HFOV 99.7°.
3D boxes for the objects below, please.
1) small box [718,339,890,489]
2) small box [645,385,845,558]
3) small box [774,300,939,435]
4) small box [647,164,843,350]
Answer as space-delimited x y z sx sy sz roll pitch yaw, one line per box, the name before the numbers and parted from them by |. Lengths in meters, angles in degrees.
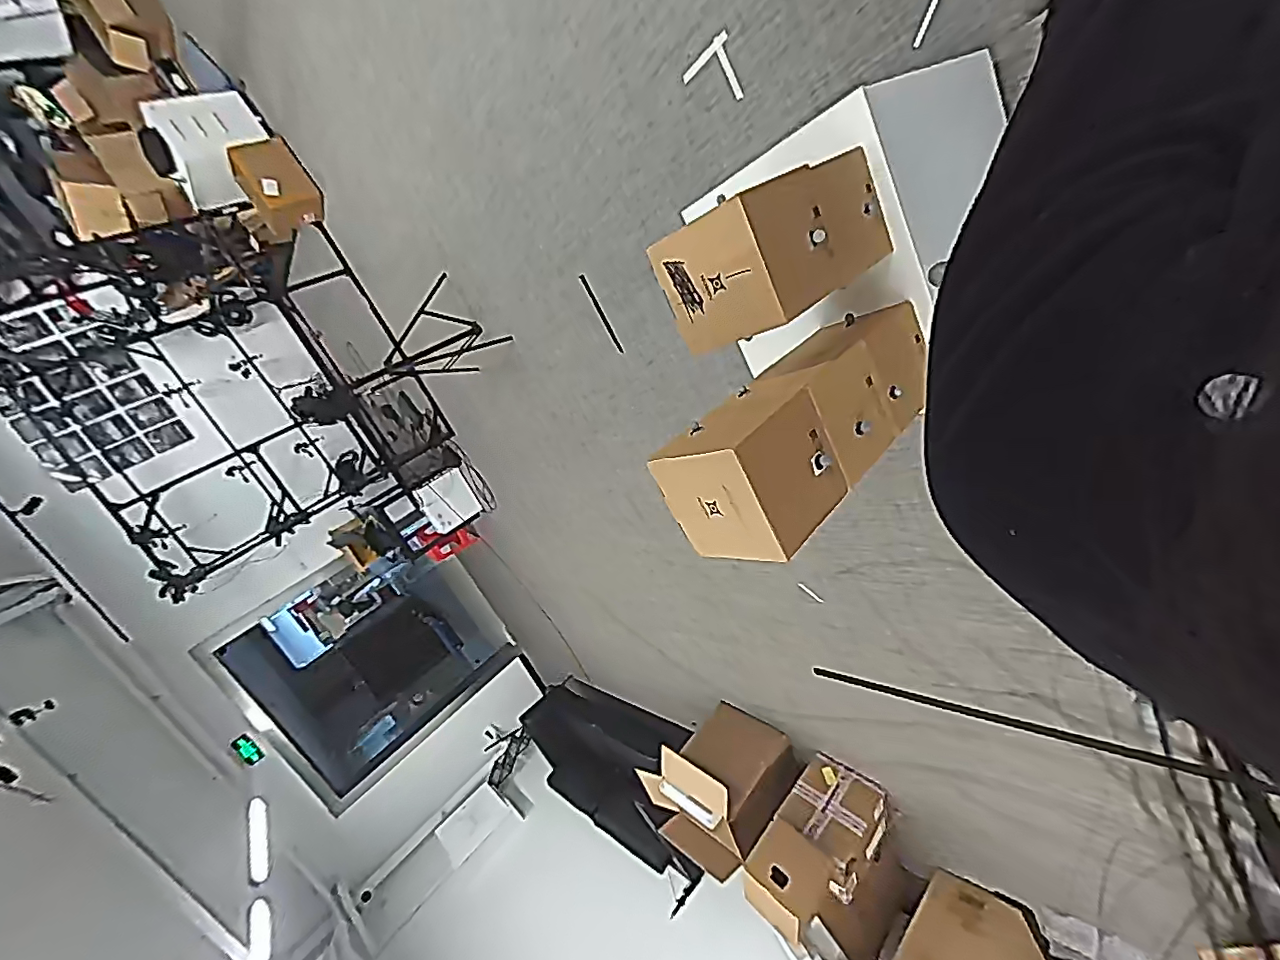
small box | 0.257 -0.096 0.830 0.179 0.176 0.168 -6 117 55
small box | 0.146 -0.011 0.747 0.179 0.176 0.168 -7 117 54
small box | 0.367 -0.181 0.917 0.179 0.176 0.168 -3 119 55
small box | 0.148 -0.305 0.754 0.179 0.176 0.168 -3 121 52
